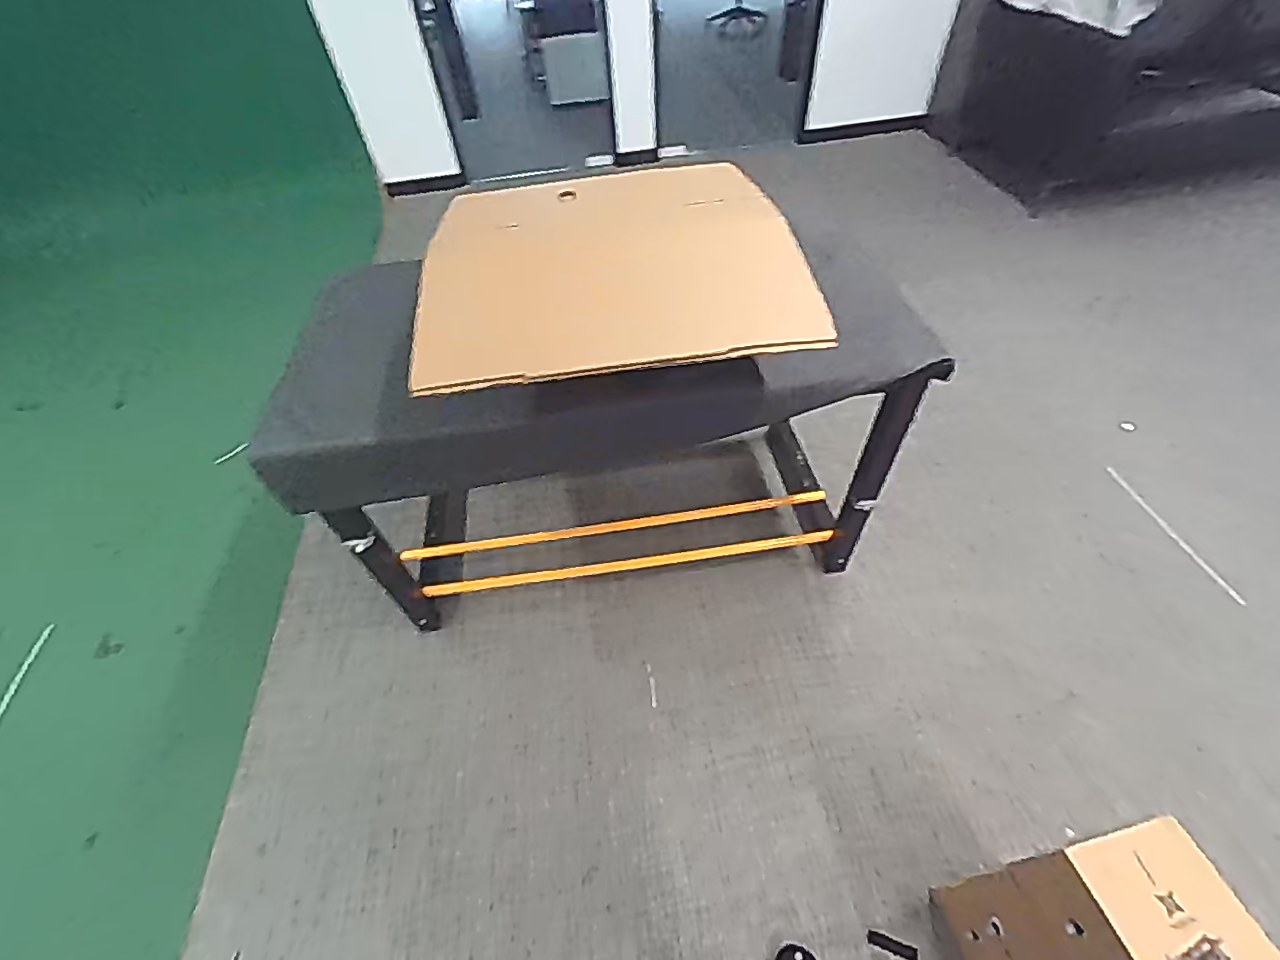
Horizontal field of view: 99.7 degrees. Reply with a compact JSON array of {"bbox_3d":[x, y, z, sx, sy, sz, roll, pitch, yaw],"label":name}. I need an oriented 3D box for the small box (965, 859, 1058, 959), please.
[{"bbox_3d":[0.653,0.677,0.836,0.179,0.176,0.168,-14,49,-7],"label":"small box"}]

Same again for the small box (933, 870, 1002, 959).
[{"bbox_3d":[0.659,0.791,0.953,0.168,0.176,0.179,-13,50,-7],"label":"small box"}]

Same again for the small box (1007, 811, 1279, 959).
[{"bbox_3d":[0.642,0.569,0.713,0.168,0.176,0.179,-12,49,-7],"label":"small box"}]
